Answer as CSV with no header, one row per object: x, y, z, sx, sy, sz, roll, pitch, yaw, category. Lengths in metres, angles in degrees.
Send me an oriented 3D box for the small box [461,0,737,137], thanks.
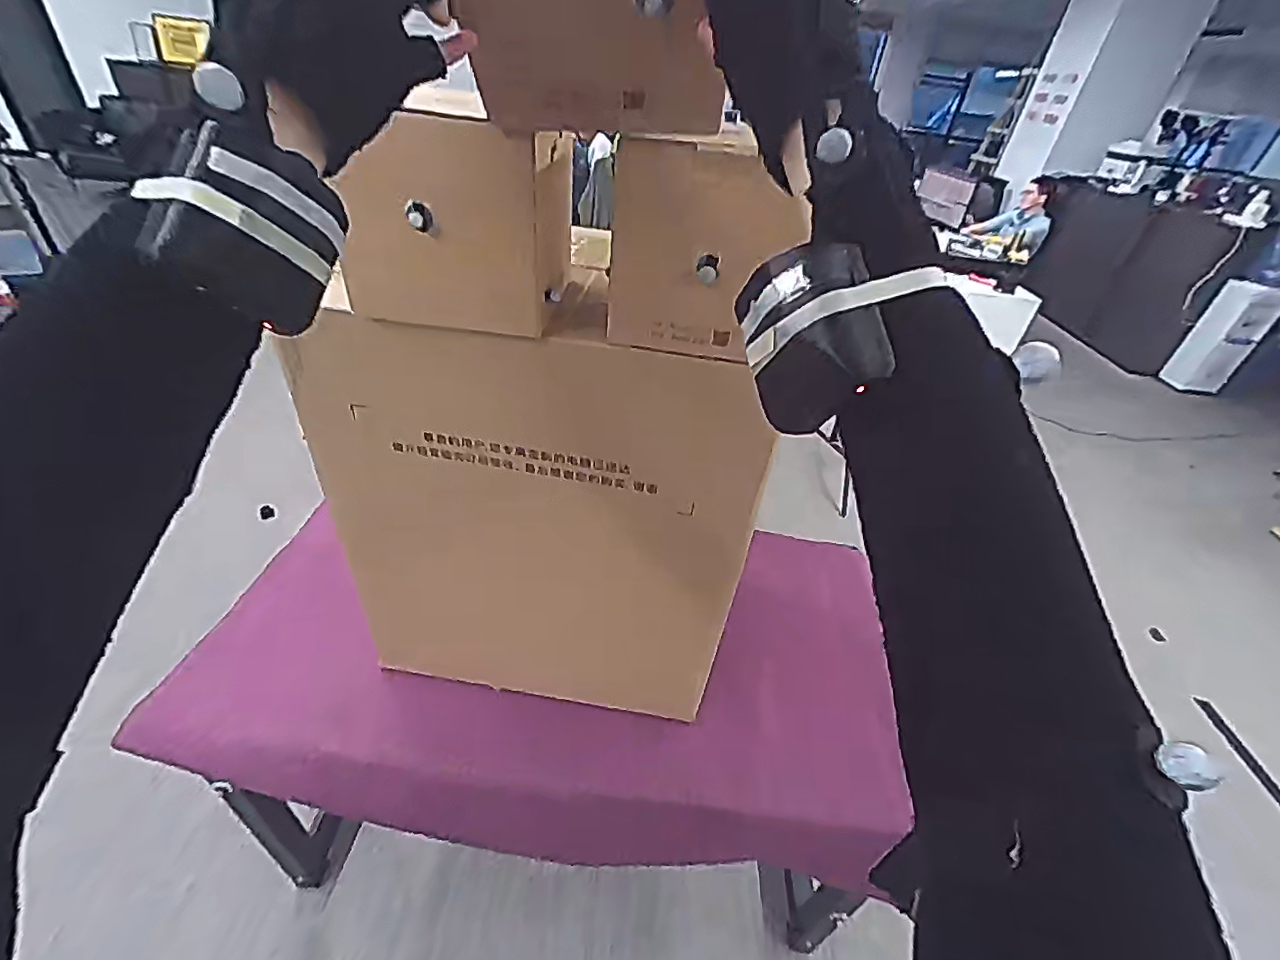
-0.020,-0.352,0.340,0.168,0.176,0.179,4,72,1,small box

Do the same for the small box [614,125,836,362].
0.070,-0.229,0.515,0.168,0.176,0.179,9,38,2,small box

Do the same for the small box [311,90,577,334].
-0.159,-0.251,0.509,0.179,0.176,0.168,6,38,0,small box
